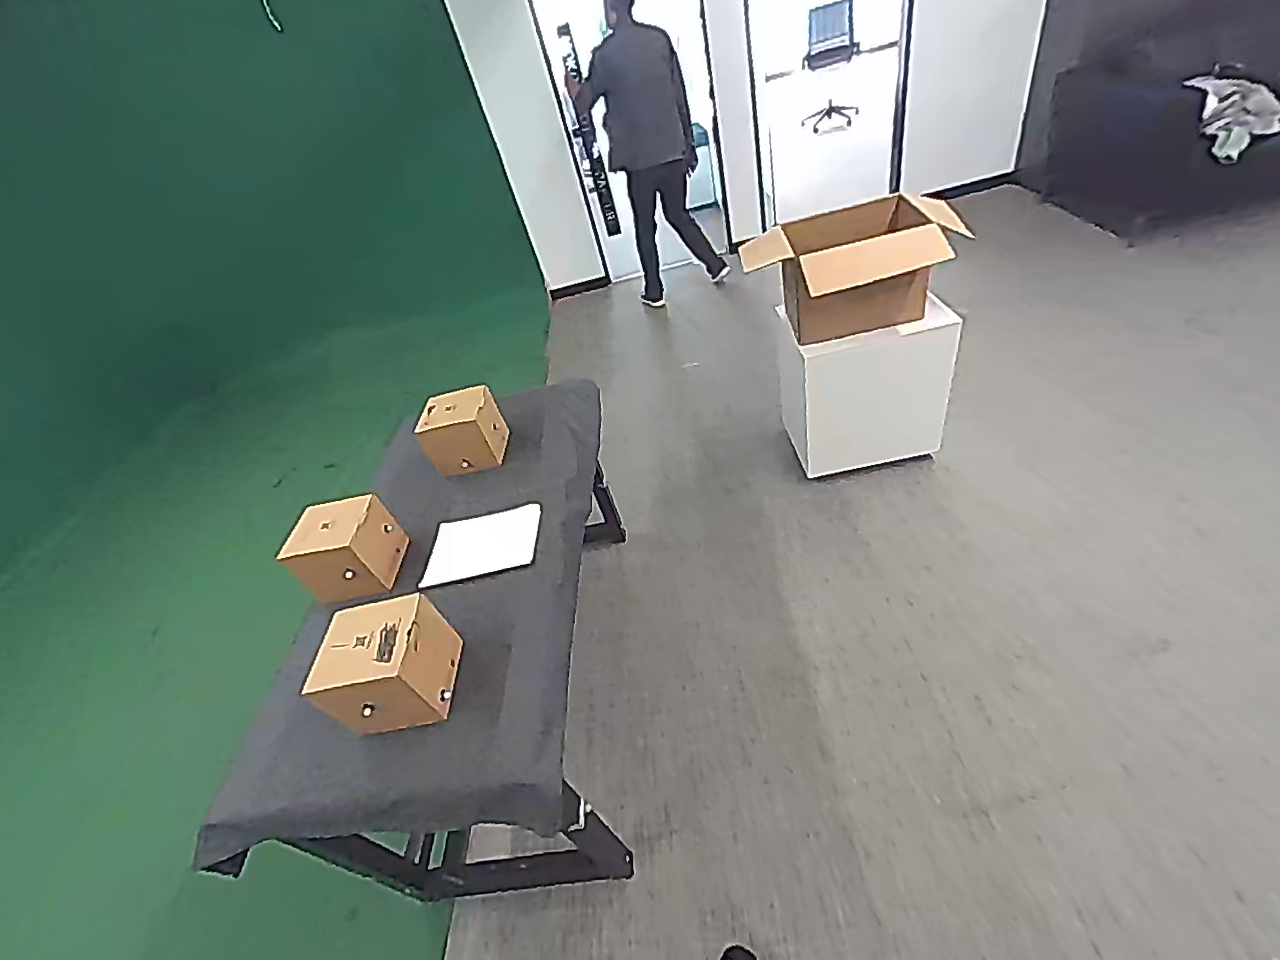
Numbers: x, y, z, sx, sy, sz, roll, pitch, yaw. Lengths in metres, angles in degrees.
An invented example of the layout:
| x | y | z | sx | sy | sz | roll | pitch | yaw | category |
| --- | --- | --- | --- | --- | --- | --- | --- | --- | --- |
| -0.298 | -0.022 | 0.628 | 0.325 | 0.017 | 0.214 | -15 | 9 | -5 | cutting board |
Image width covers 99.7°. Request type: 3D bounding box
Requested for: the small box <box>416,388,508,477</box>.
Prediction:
| x | y | z | sx | sy | sz | roll | pitch | yaw | category |
| --- | --- | --- | --- | --- | --- | --- | --- | --- | --- |
| -0.487 | -0.131 | 1.512 | 0.179 | 0.176 | 0.168 | -10 | 41 | 7 | small box |

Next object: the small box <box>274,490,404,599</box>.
| x | y | z | sx | sy | sz | roll | pitch | yaw | category |
| --- | --- | --- | --- | --- | --- | --- | --- | --- | --- |
| -0.678 | 0.152 | 1.245 | 0.179 | 0.176 | 0.168 | -12 | 40 | 7 | small box |

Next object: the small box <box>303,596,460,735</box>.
| x | y | z | sx | sy | sz | roll | pitch | yaw | category |
| --- | --- | --- | --- | --- | --- | --- | --- | --- | --- |
| -0.452 | 0.338 | 0.983 | 0.179 | 0.176 | 0.168 | -12 | 40 | 6 | small box |
